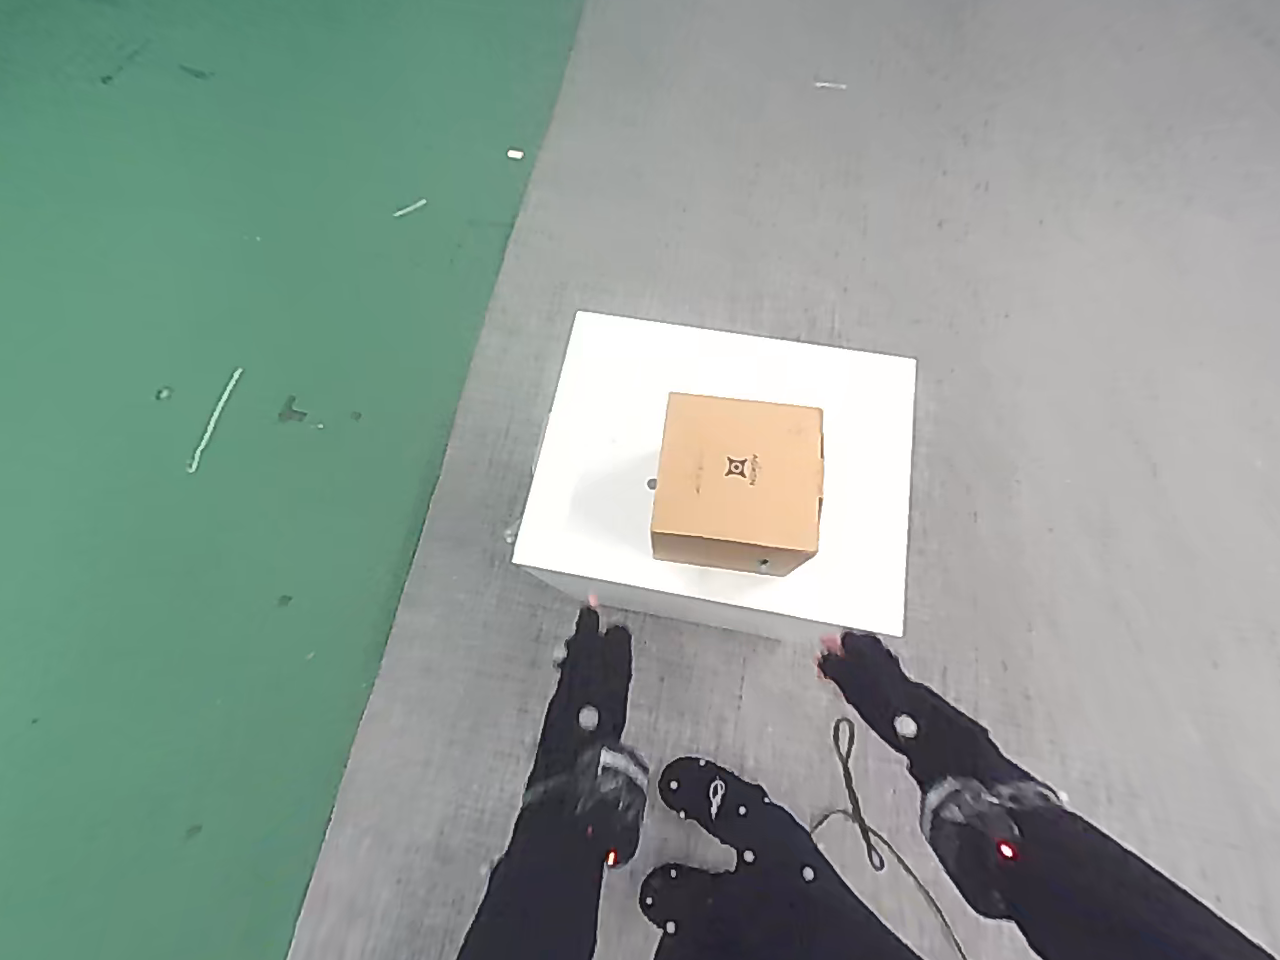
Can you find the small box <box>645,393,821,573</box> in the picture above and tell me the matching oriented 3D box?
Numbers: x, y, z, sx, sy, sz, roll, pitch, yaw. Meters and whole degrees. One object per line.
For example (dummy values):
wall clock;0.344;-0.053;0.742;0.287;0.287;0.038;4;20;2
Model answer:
small box;0.106;0.013;0.650;0.179;0.176;0.168;6;72;6
